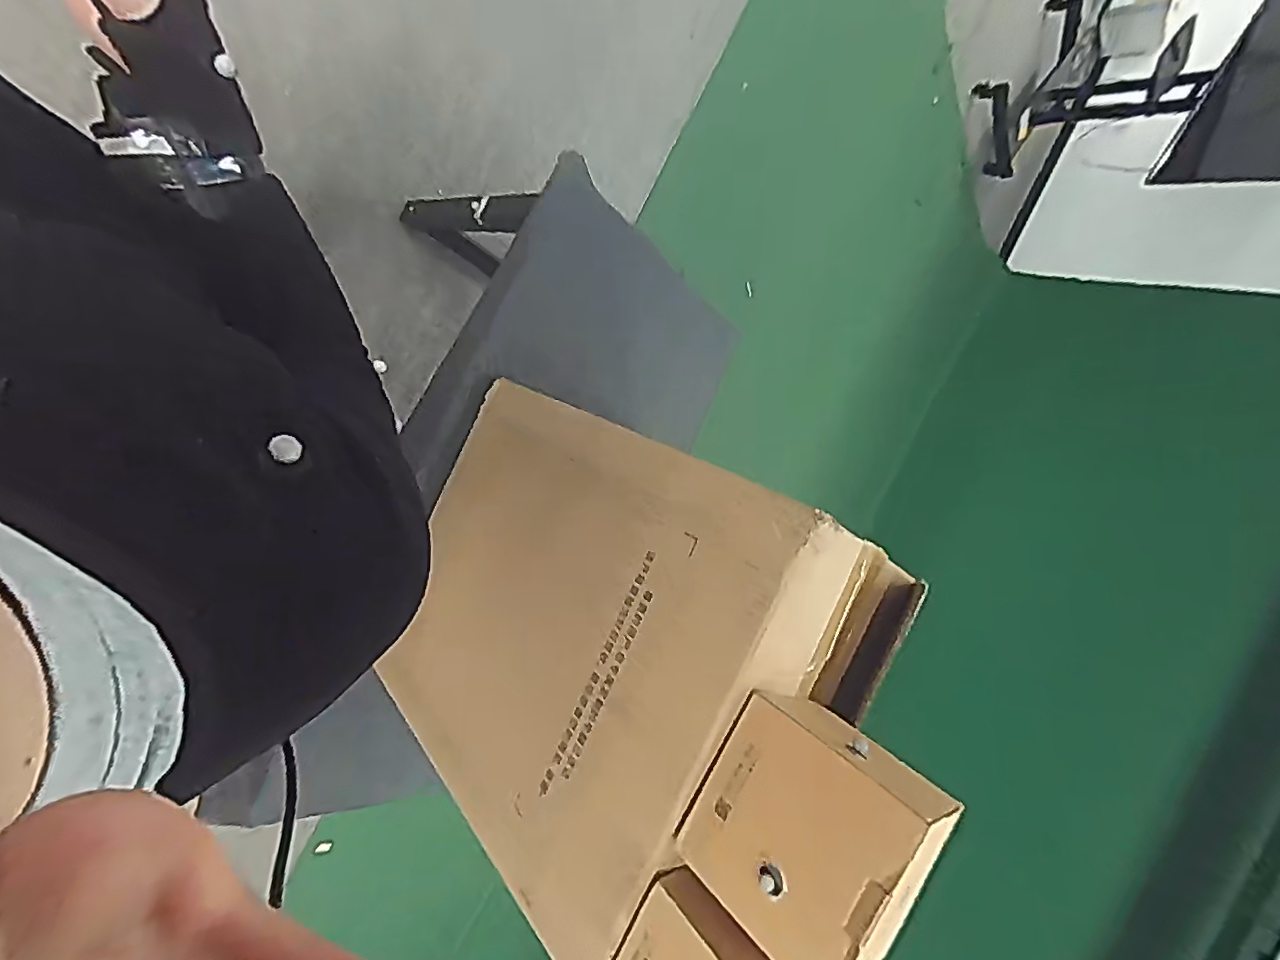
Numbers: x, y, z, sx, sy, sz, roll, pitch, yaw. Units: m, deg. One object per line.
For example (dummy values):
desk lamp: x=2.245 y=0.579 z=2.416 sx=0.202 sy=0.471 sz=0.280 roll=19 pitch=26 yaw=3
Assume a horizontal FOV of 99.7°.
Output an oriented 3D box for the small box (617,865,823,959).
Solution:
small box: x=0.076 y=0.512 z=0.513 sx=0.179 sy=0.176 sz=0.168 roll=24 pitch=94 yaw=-46
